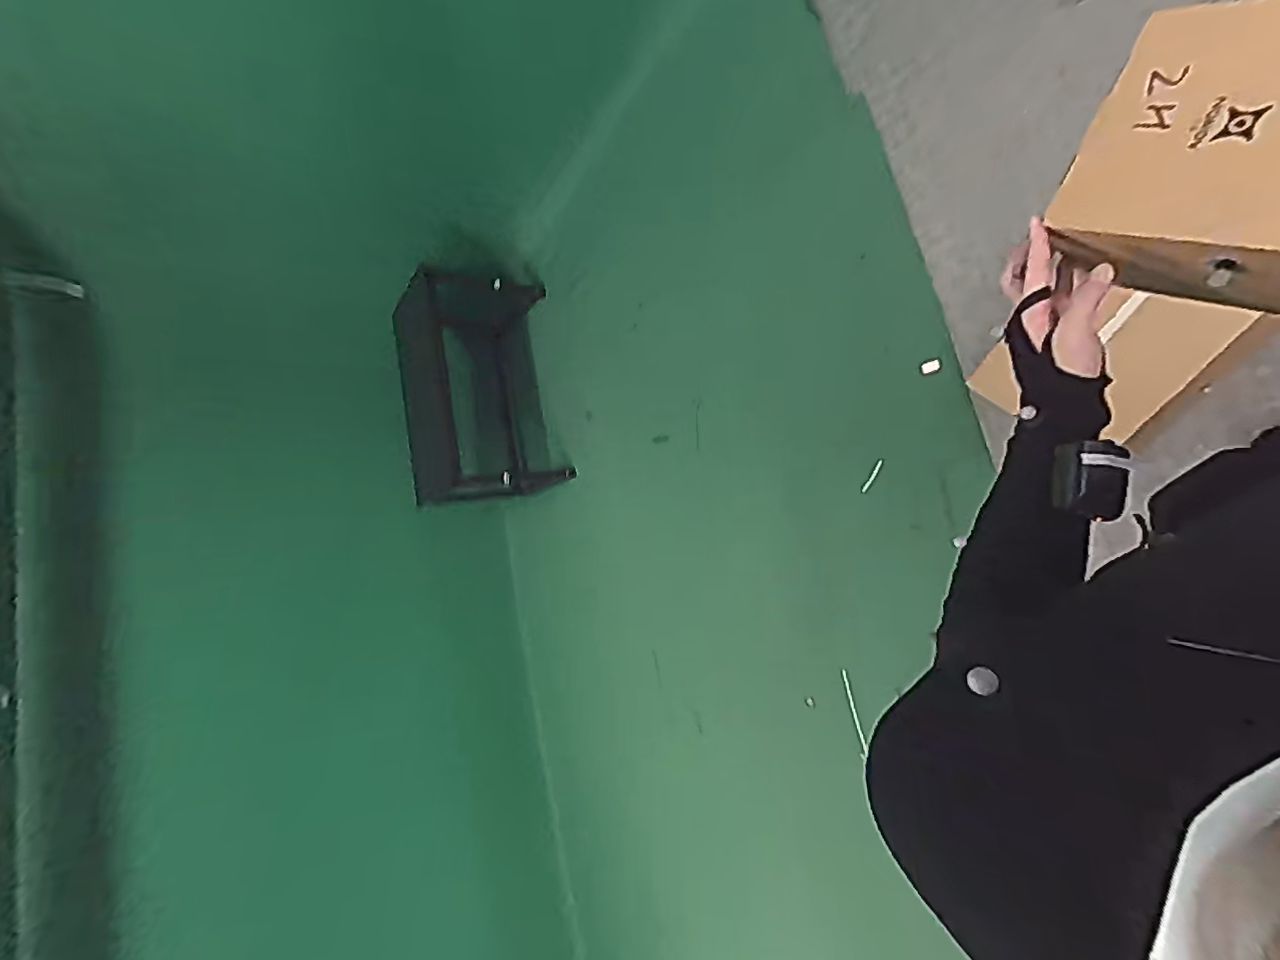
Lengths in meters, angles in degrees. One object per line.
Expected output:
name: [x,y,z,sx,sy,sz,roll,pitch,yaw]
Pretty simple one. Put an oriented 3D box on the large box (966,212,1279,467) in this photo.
large box: [1.014,-0.284,1.153,0.320,0.320,0.408,52,131,35]
